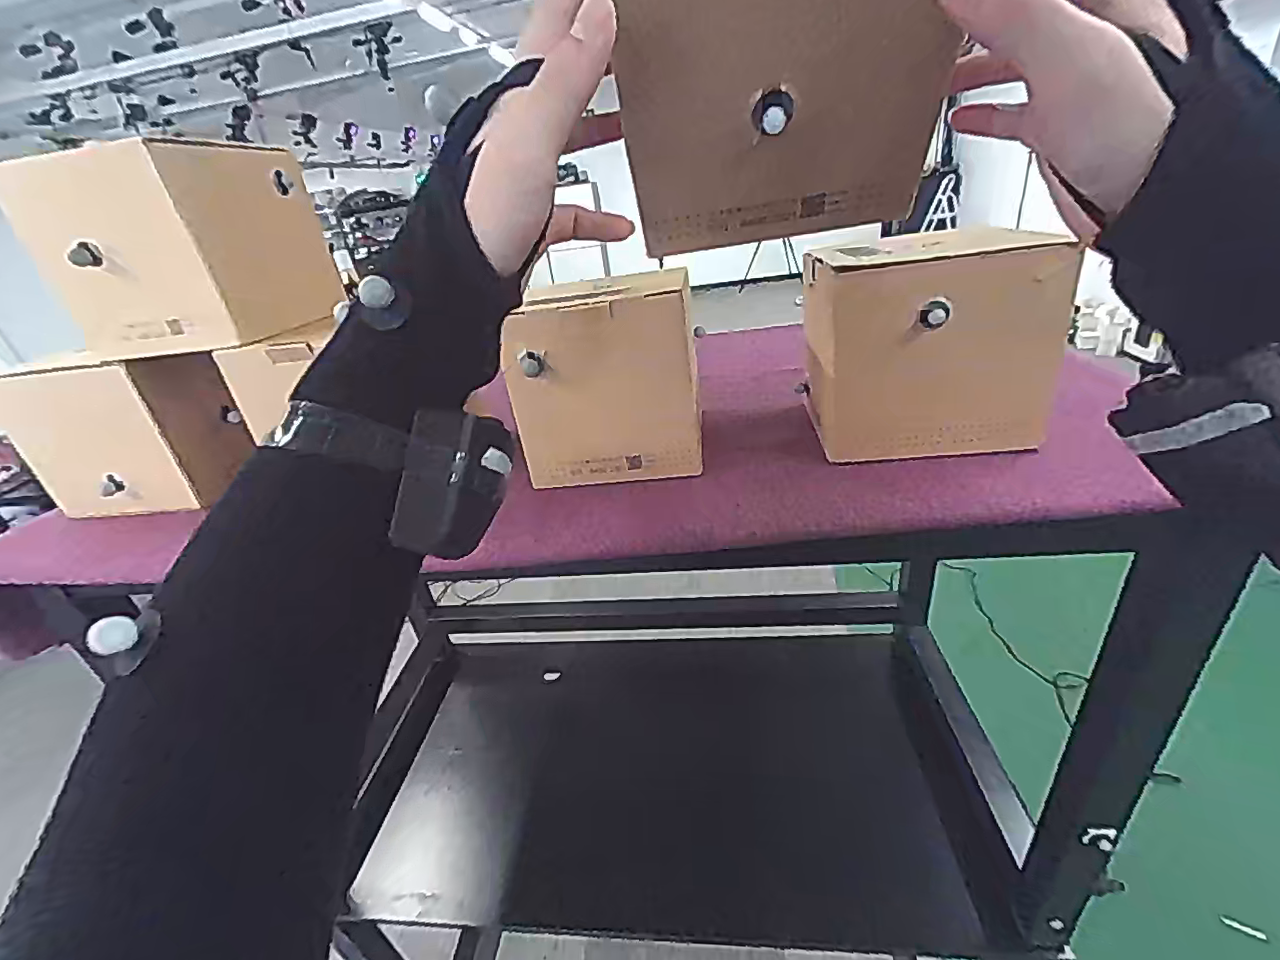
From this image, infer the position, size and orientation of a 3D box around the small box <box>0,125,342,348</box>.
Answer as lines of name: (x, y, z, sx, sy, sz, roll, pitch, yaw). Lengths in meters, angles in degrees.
small box: (-0.440, -0.234, 0.540, 0.168, 0.176, 0.179, -4, 27, 9)

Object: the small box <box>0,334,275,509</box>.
small box: (-0.561, -0.079, 0.629, 0.179, 0.176, 0.168, -4, 28, 7)

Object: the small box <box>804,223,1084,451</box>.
small box: (0.255, -0.134, 0.504, 0.179, 0.176, 0.168, -3, 28, 9)

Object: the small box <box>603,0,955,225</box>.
small box: (0.072, -0.273, 0.316, 0.168, 0.176, 0.179, -6, 61, 7)

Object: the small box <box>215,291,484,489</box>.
small box: (-0.291, -0.097, 0.591, 0.168, 0.176, 0.179, -2, 27, 11)
